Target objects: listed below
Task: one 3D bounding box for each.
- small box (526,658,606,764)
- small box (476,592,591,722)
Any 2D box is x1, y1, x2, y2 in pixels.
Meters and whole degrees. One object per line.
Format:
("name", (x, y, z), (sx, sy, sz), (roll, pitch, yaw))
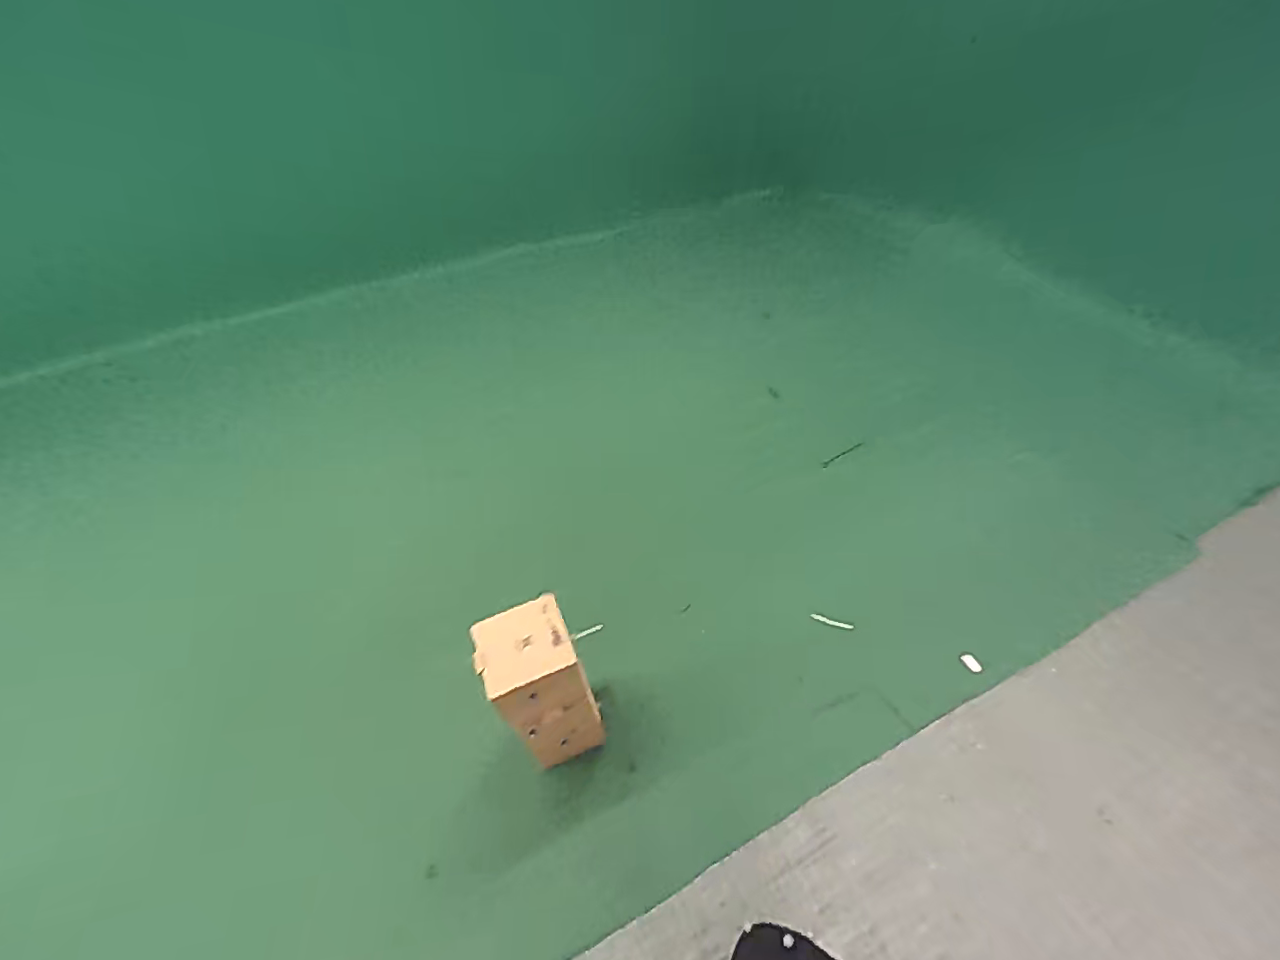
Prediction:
("small box", (-0.191, 0.581, 1.358), (0.179, 0.176, 0.168), (-19, 51, -13))
("small box", (-0.215, 0.366, 1.111), (0.179, 0.176, 0.168), (-20, 50, -13))
